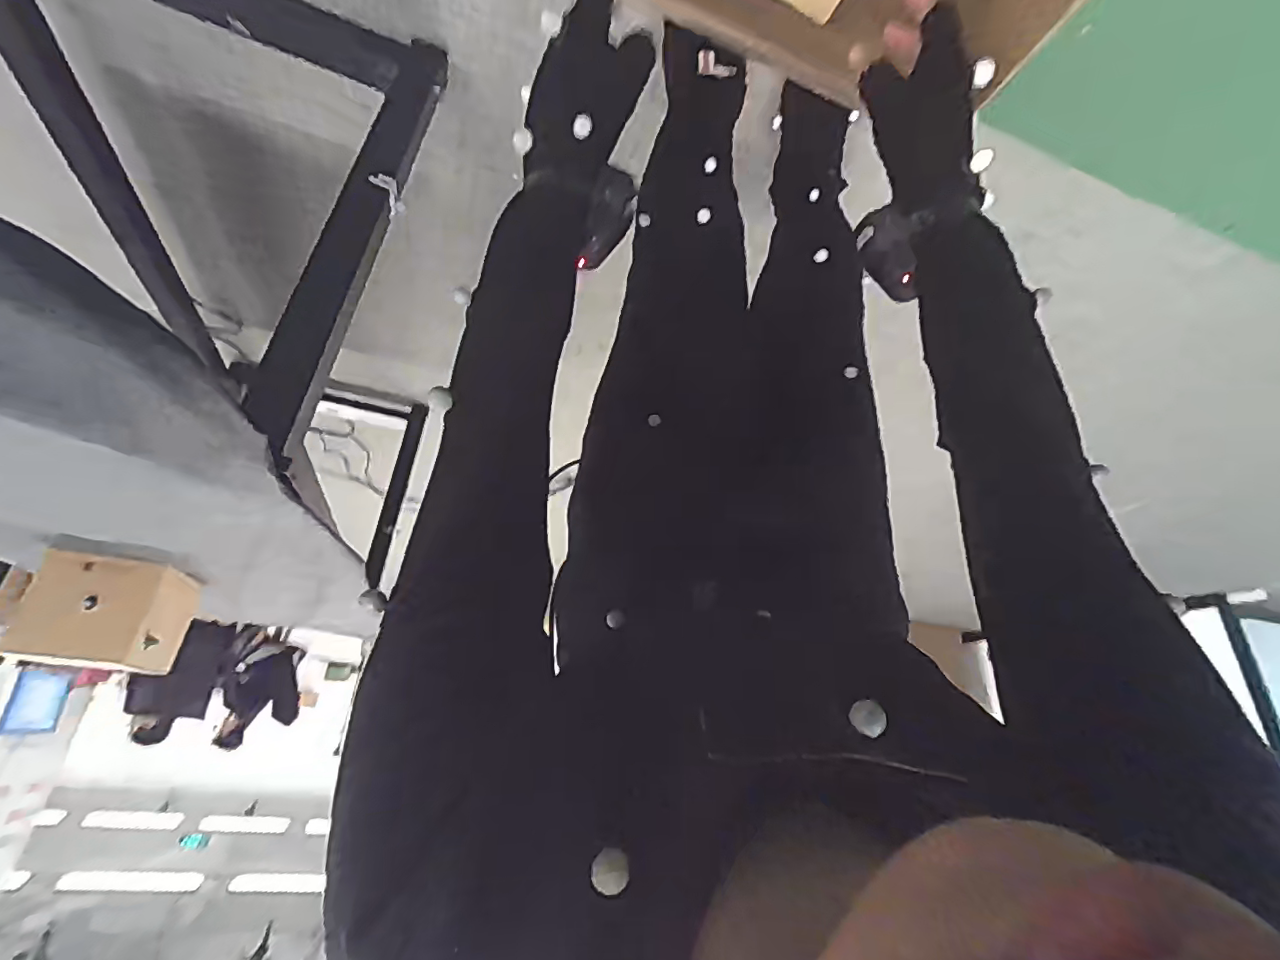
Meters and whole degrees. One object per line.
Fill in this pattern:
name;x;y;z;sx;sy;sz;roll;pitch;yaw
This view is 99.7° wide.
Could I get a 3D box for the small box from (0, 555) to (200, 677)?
small box;-0.911;0.237;0.929;0.168;0.176;0.179;12;153;-15
